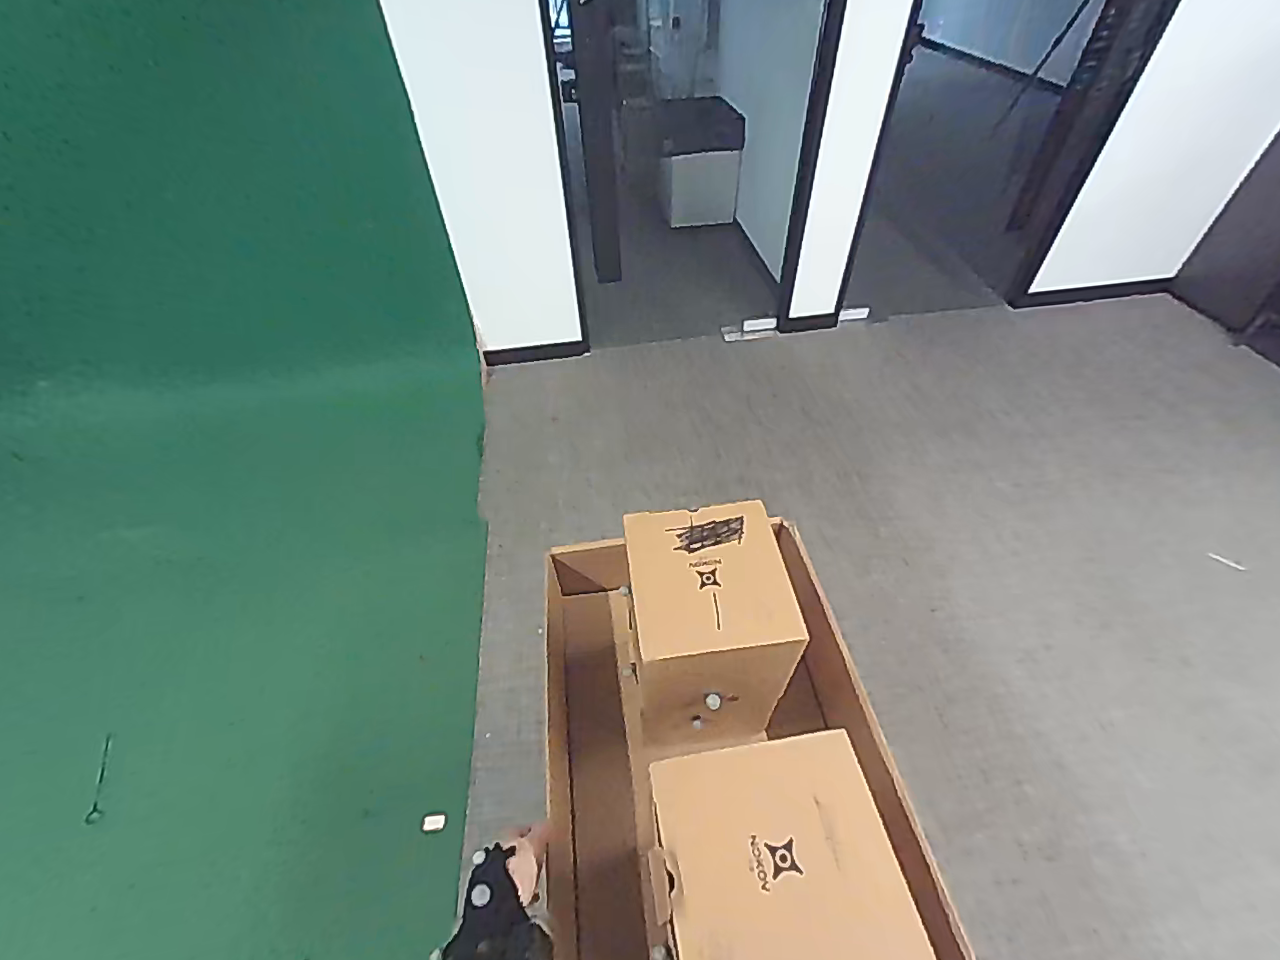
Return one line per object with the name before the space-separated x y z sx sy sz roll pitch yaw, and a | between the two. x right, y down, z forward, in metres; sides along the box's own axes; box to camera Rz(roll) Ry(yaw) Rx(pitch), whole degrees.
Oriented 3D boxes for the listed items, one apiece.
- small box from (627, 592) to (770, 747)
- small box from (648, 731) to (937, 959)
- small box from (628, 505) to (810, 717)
small box | 0.081 0.258 0.757 0.179 0.176 0.168 -6 50 -2
small box | 0.107 0.340 0.463 0.179 0.176 0.168 -8 48 -6
small box | 0.076 0.153 0.630 0.168 0.176 0.179 -7 50 -3
